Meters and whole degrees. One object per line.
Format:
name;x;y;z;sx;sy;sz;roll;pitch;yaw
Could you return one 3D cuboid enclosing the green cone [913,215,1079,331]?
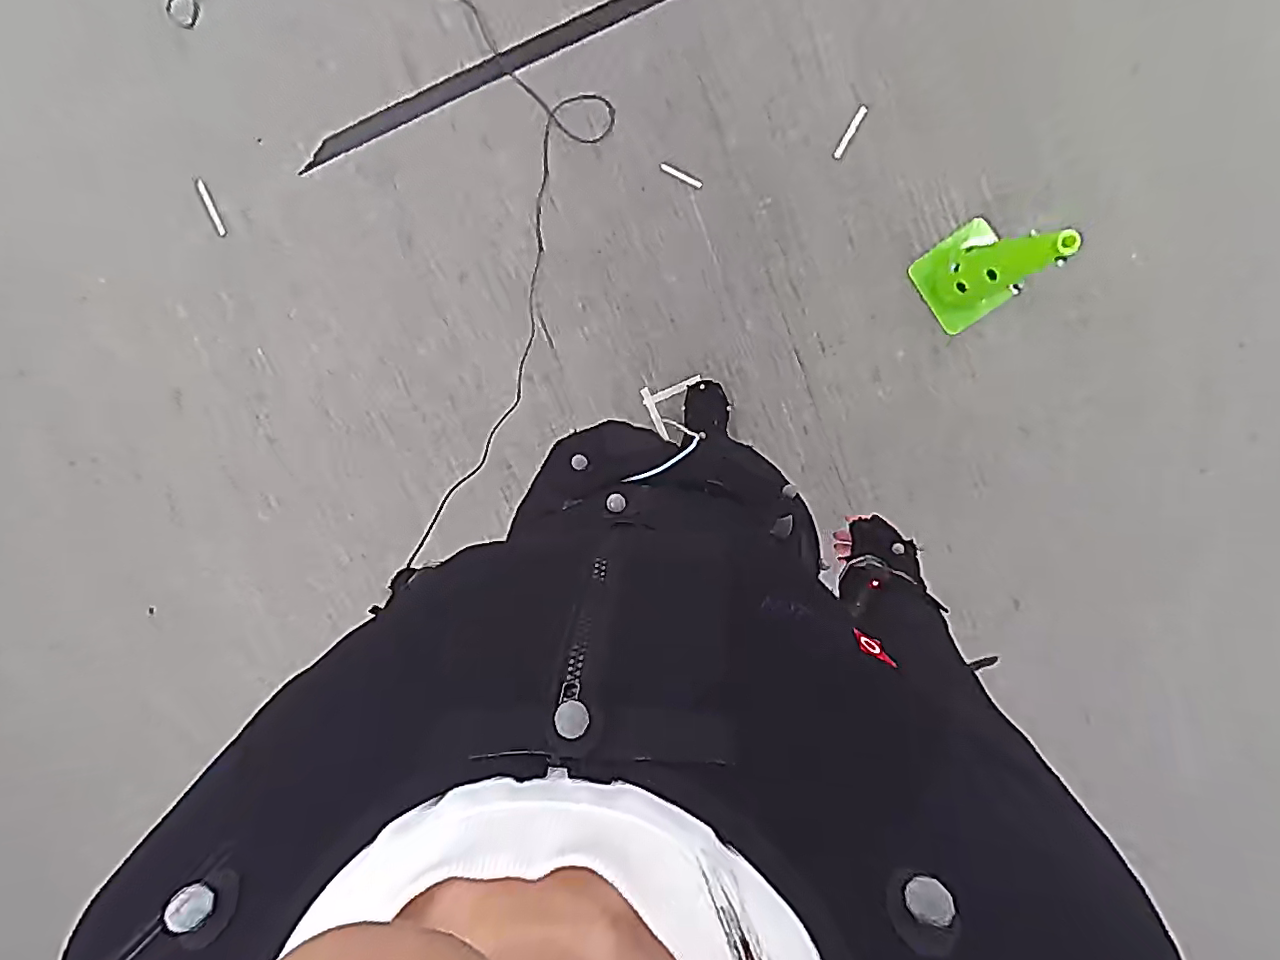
green cone;0.754;-0.450;1.098;0.202;0.368;0.200;-36;95;12
